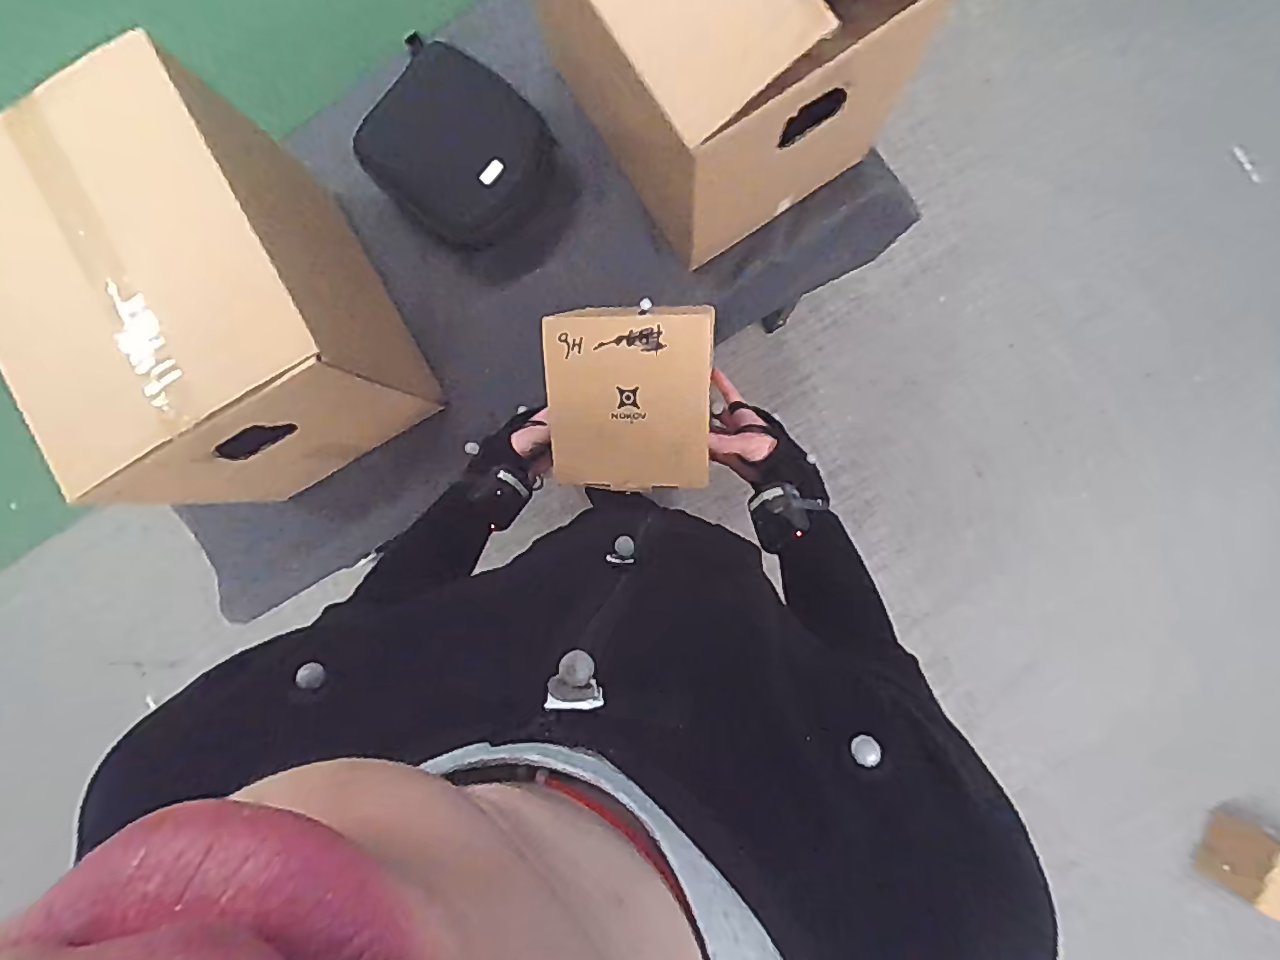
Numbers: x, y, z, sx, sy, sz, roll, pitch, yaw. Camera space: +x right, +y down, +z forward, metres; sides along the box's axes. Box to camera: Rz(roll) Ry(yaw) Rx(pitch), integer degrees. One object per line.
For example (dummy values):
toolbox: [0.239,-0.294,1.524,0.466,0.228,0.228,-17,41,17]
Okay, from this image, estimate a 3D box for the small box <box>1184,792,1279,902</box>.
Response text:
small box: [1.568,0.938,1.378,0.179,0.176,0.168,22,92,2]
